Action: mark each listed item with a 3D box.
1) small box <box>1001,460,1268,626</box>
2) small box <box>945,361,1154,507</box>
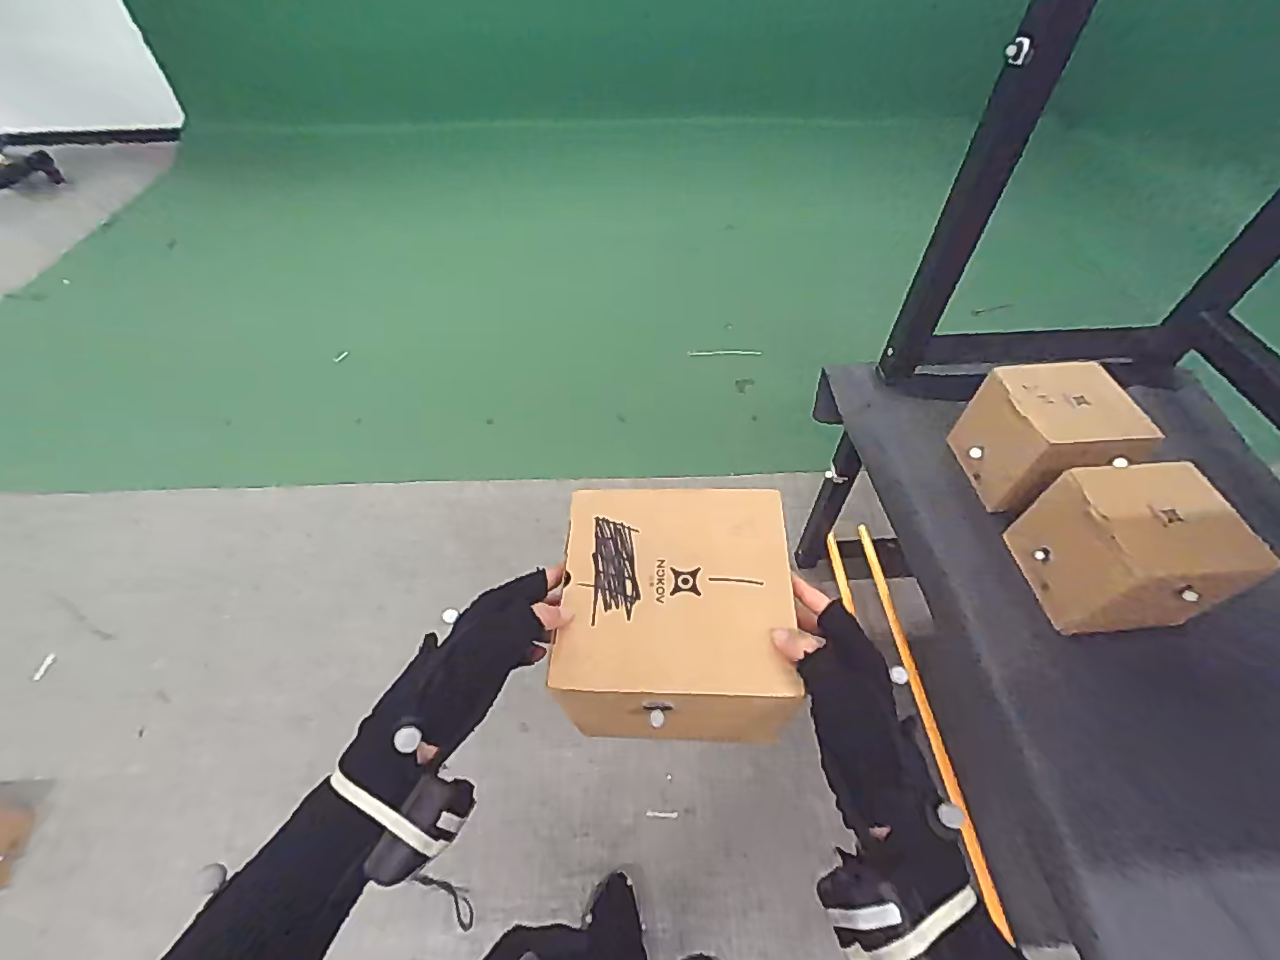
[{"bbox_3d":[0.658,0.090,0.750,0.179,0.176,0.168,-4,52,-2],"label":"small box"},{"bbox_3d":[0.640,-0.071,0.873,0.179,0.176,0.168,-4,52,-2],"label":"small box"}]
